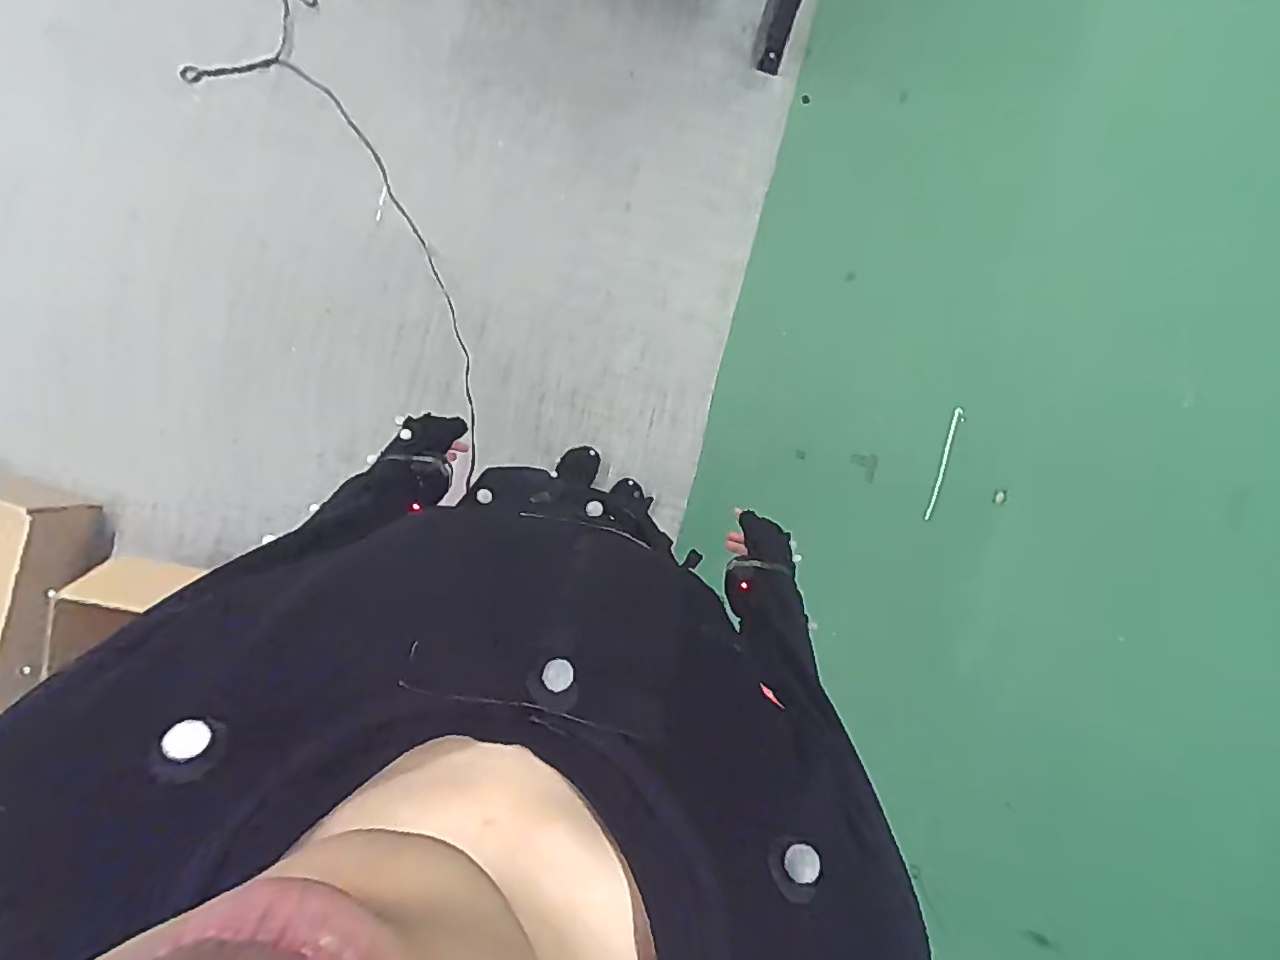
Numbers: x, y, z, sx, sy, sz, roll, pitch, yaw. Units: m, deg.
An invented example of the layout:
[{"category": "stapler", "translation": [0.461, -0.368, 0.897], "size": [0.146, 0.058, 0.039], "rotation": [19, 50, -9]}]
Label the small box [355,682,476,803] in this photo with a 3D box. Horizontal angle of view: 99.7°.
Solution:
[{"category": "small box", "translation": [-0.502, 0.586, 1.233], "size": [0.179, 0.176, 0.168], "rotation": [19, 92, -1]}]
